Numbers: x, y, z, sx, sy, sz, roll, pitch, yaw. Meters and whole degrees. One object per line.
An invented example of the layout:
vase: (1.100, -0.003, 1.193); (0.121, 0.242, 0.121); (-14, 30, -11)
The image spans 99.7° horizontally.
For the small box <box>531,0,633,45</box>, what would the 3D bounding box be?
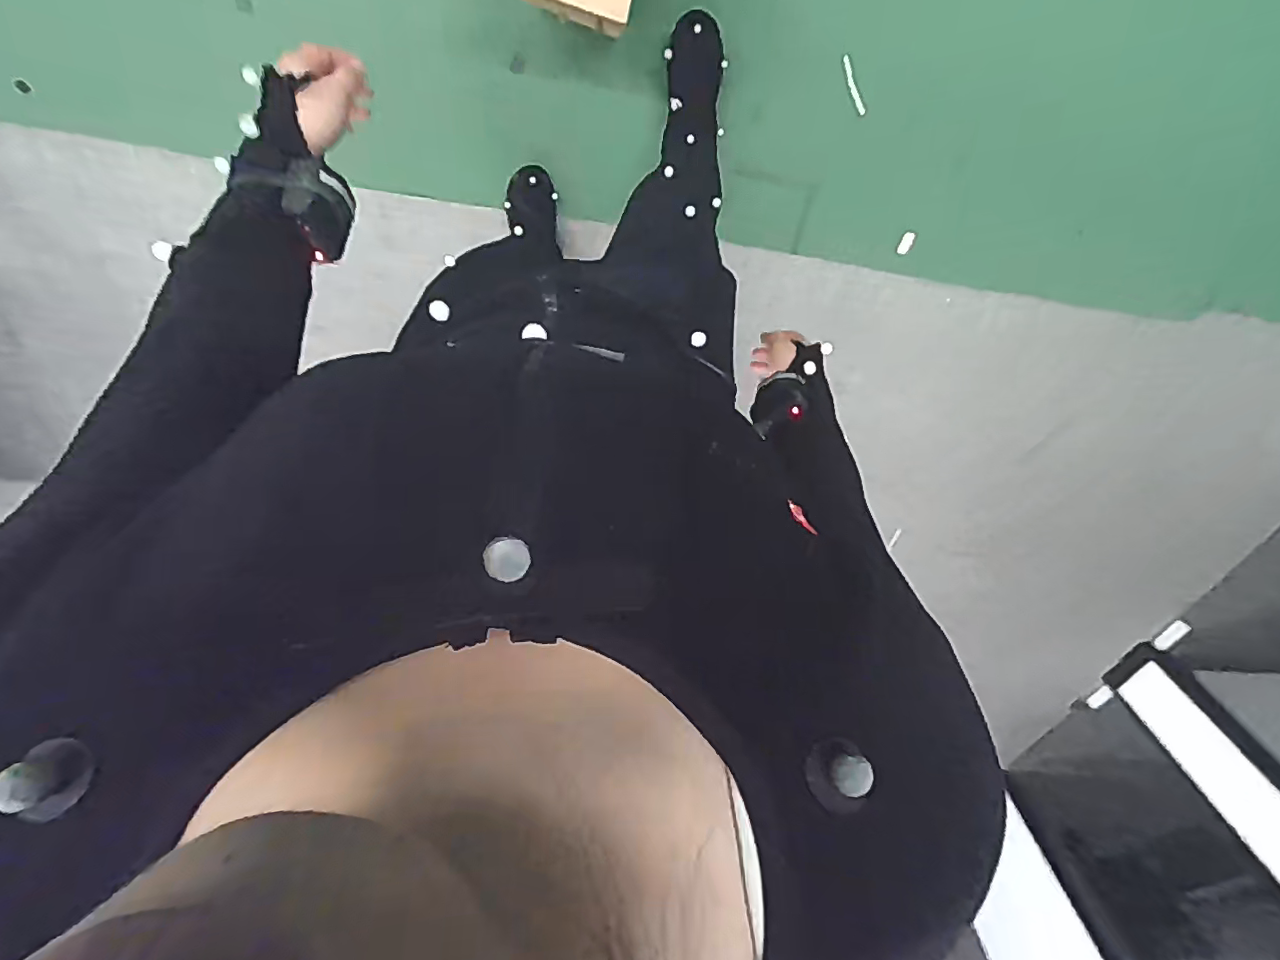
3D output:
small box: (-0.086, -0.891, 0.940); (0.168, 0.176, 0.179); (12, 124, -13)
